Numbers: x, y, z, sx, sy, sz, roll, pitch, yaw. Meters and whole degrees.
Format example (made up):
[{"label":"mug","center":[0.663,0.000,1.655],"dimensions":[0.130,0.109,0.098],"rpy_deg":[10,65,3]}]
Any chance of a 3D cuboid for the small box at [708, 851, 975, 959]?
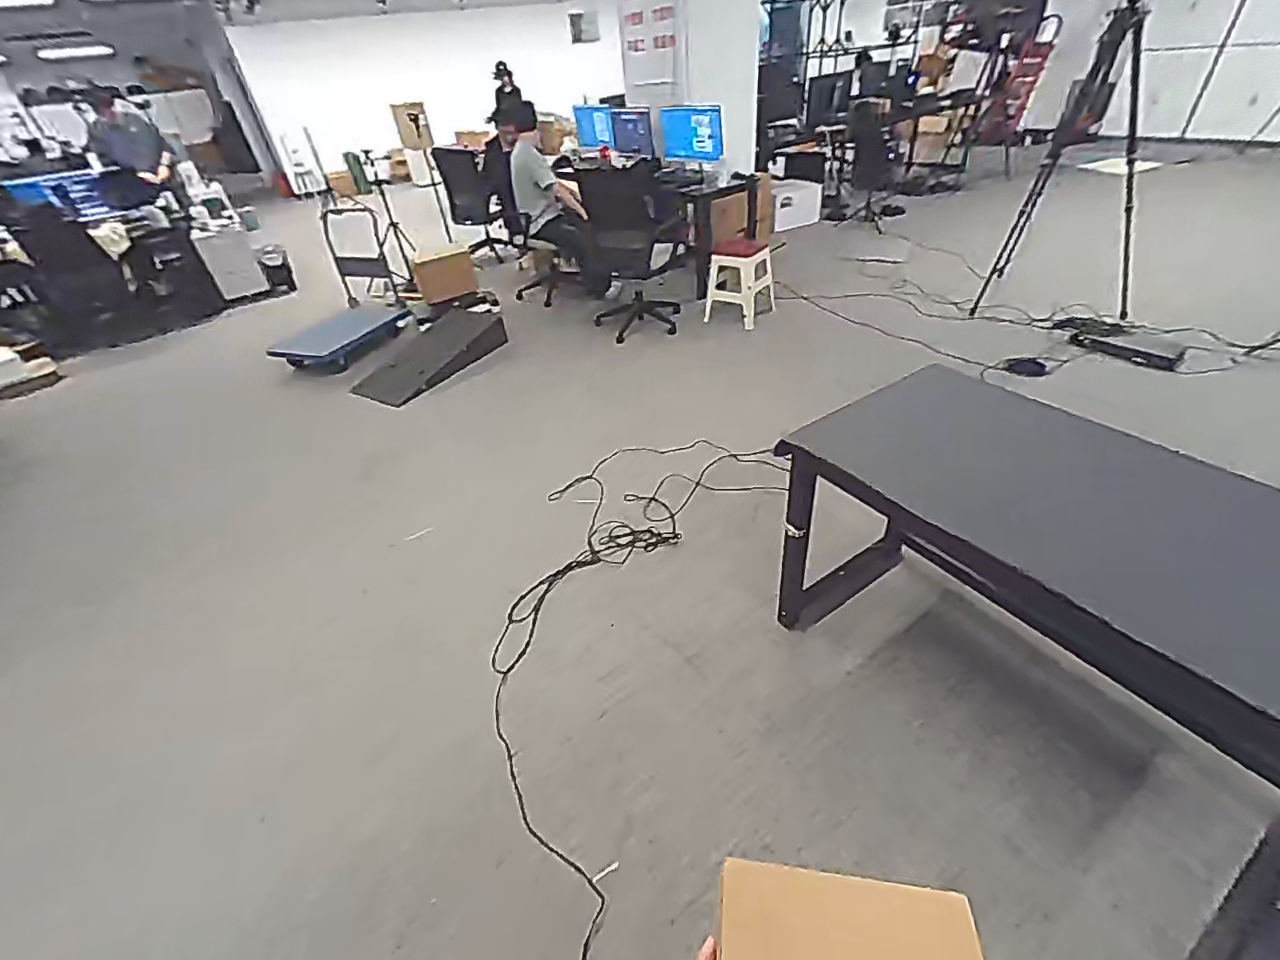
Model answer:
[{"label":"small box","center":[0.130,0.395,0.374],"dimensions":[0.168,0.176,0.179],"rpy_deg":[3,41,8]}]
